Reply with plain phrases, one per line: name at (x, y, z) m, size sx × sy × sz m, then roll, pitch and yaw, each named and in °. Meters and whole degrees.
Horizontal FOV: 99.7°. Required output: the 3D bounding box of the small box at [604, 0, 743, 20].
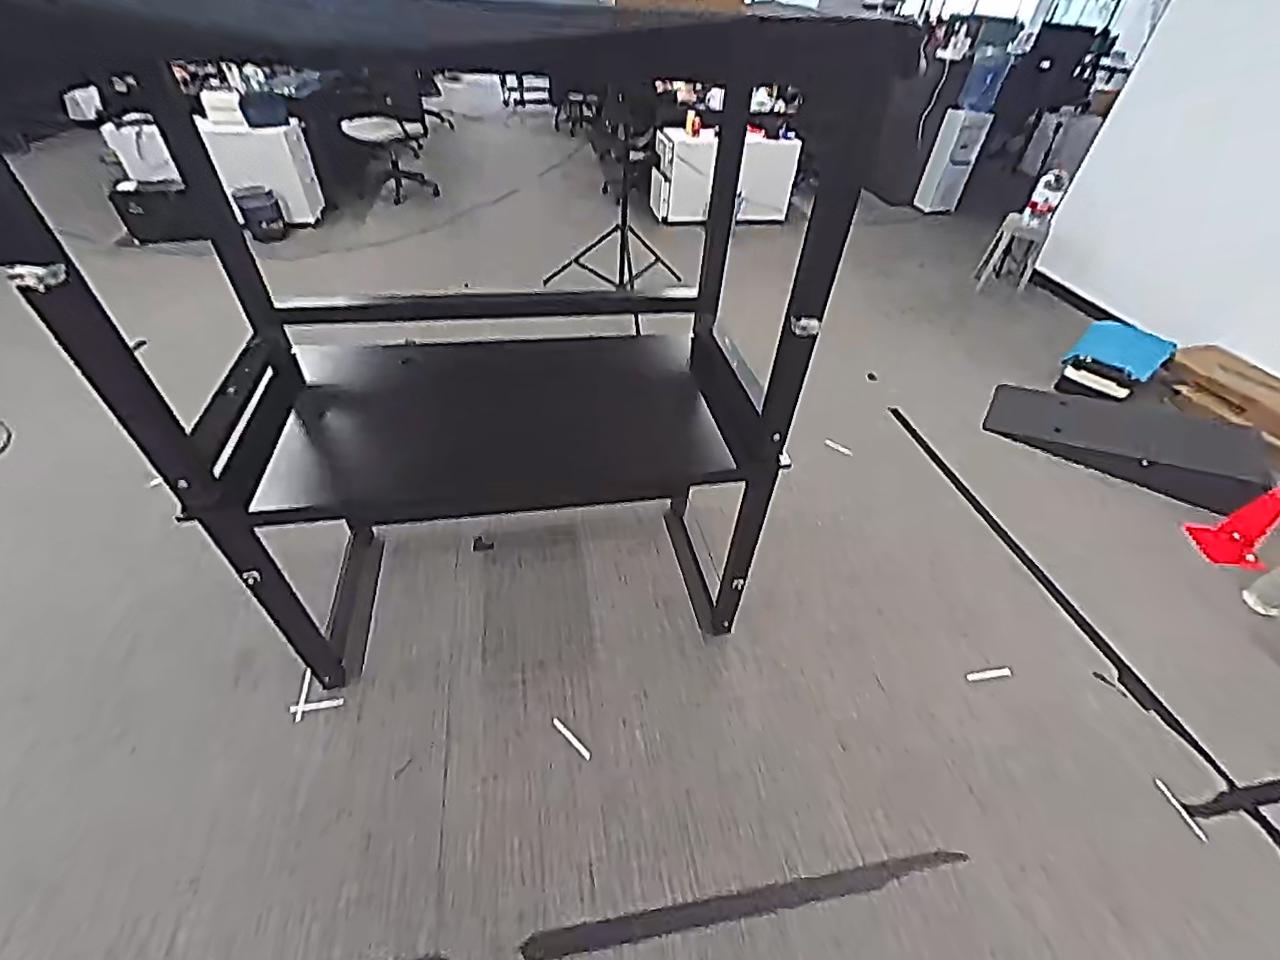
small box at (0.040, -0.696, 0.679) m, size 0.168 × 0.176 × 0.179 m, roll -5°, pitch 43°, yaw -8°
